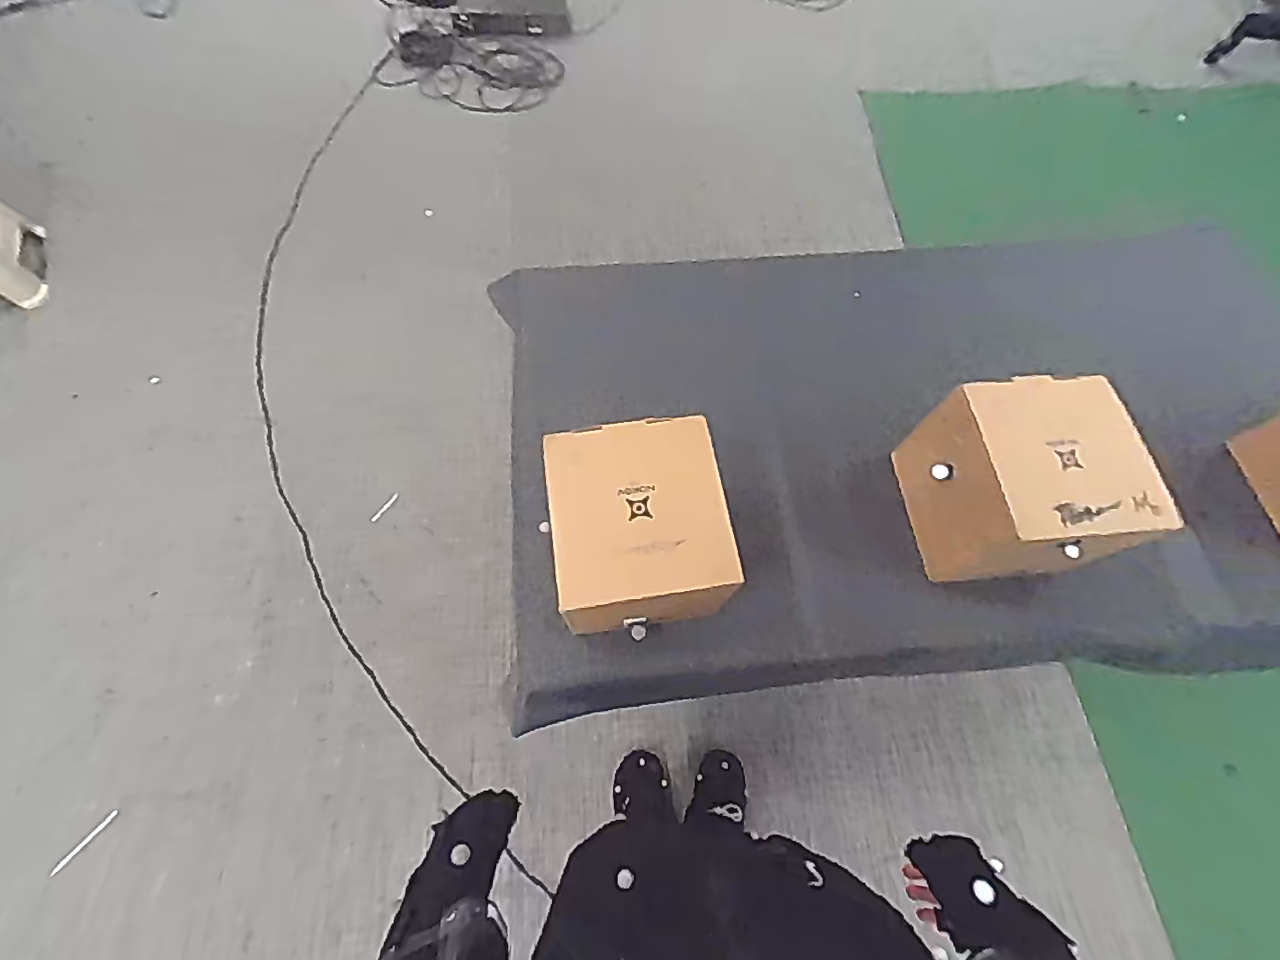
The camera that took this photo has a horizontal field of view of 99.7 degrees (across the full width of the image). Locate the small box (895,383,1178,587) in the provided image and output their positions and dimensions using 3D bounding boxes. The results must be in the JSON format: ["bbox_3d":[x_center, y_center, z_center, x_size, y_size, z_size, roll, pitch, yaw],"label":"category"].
[{"bbox_3d":[0.420,0.011,0.614,0.168,0.176,0.179,-4,65,-4],"label":"small box"}]

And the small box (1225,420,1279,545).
[{"bbox_3d":[0.879,-0.005,0.634,0.168,0.176,0.179,-4,64,-3],"label":"small box"}]

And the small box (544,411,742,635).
[{"bbox_3d":[-0.004,0.051,0.559,0.168,0.176,0.179,-6,66,-3],"label":"small box"}]
